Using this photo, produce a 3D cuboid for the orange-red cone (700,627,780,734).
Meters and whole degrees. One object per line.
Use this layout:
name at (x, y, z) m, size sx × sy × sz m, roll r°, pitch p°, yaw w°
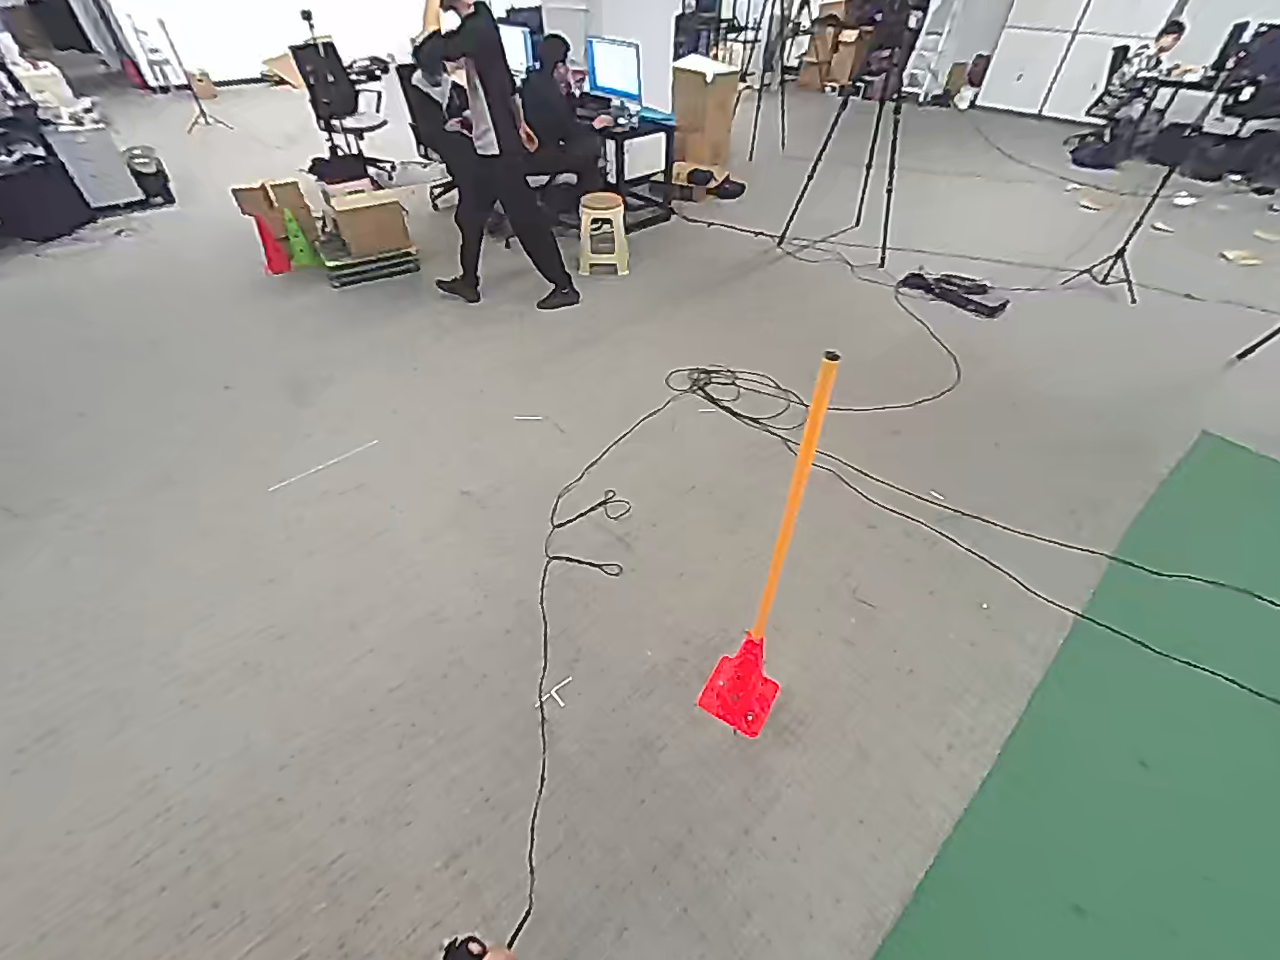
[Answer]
orange-red cone at (0.308, 0.524, 1.532) m, size 0.198 × 0.360 × 0.199 m, roll 25°, pitch 48°, yaw 23°
